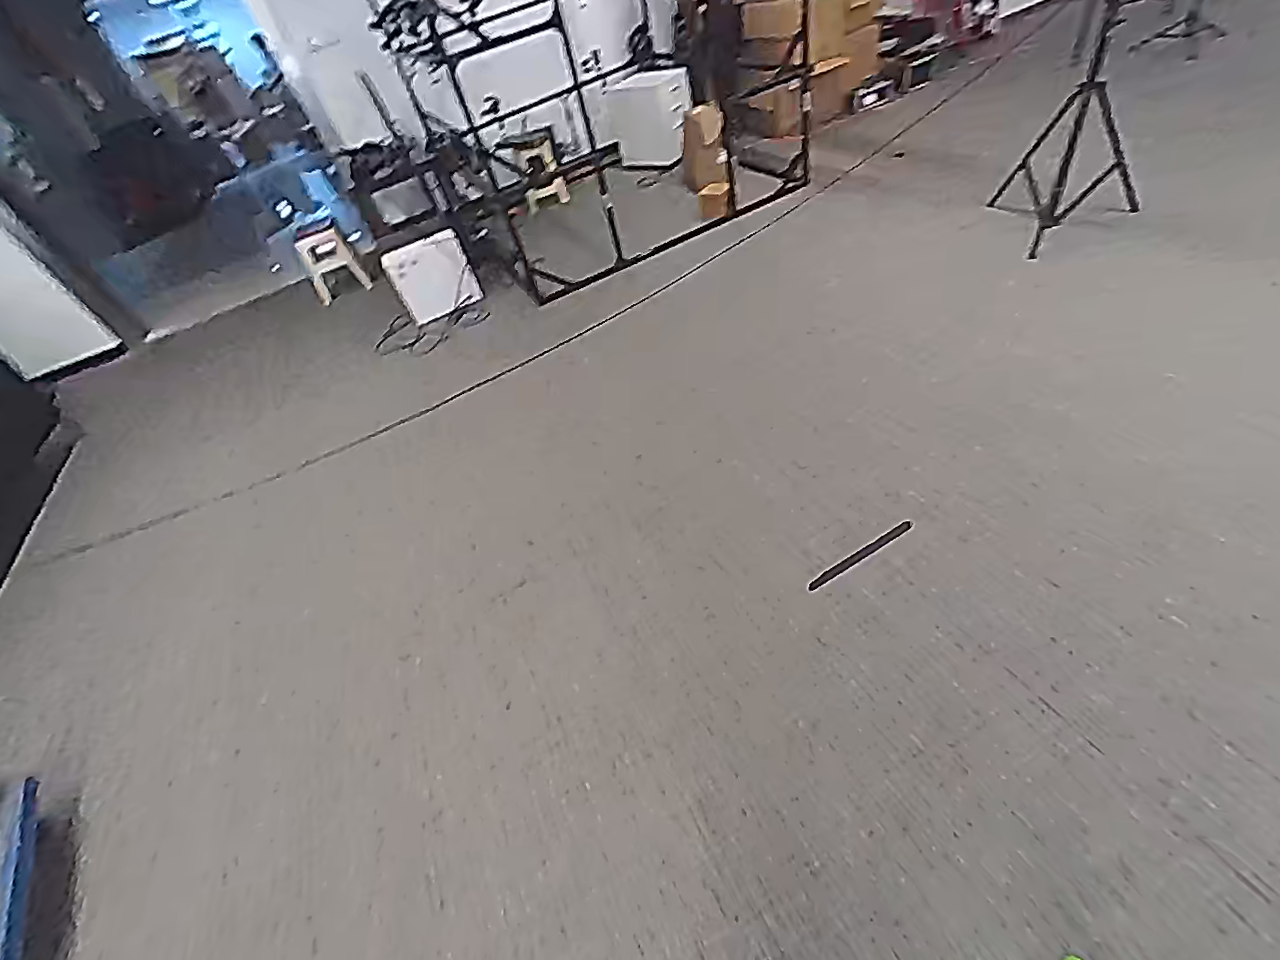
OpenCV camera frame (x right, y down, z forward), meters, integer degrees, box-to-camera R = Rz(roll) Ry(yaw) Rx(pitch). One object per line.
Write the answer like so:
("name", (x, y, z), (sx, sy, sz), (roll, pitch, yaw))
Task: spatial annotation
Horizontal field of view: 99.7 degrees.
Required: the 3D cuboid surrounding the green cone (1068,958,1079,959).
("green cone", (0.730, 0.823, 0.750), (0.202, 0.368, 0.200), (-39, 48, -22))
